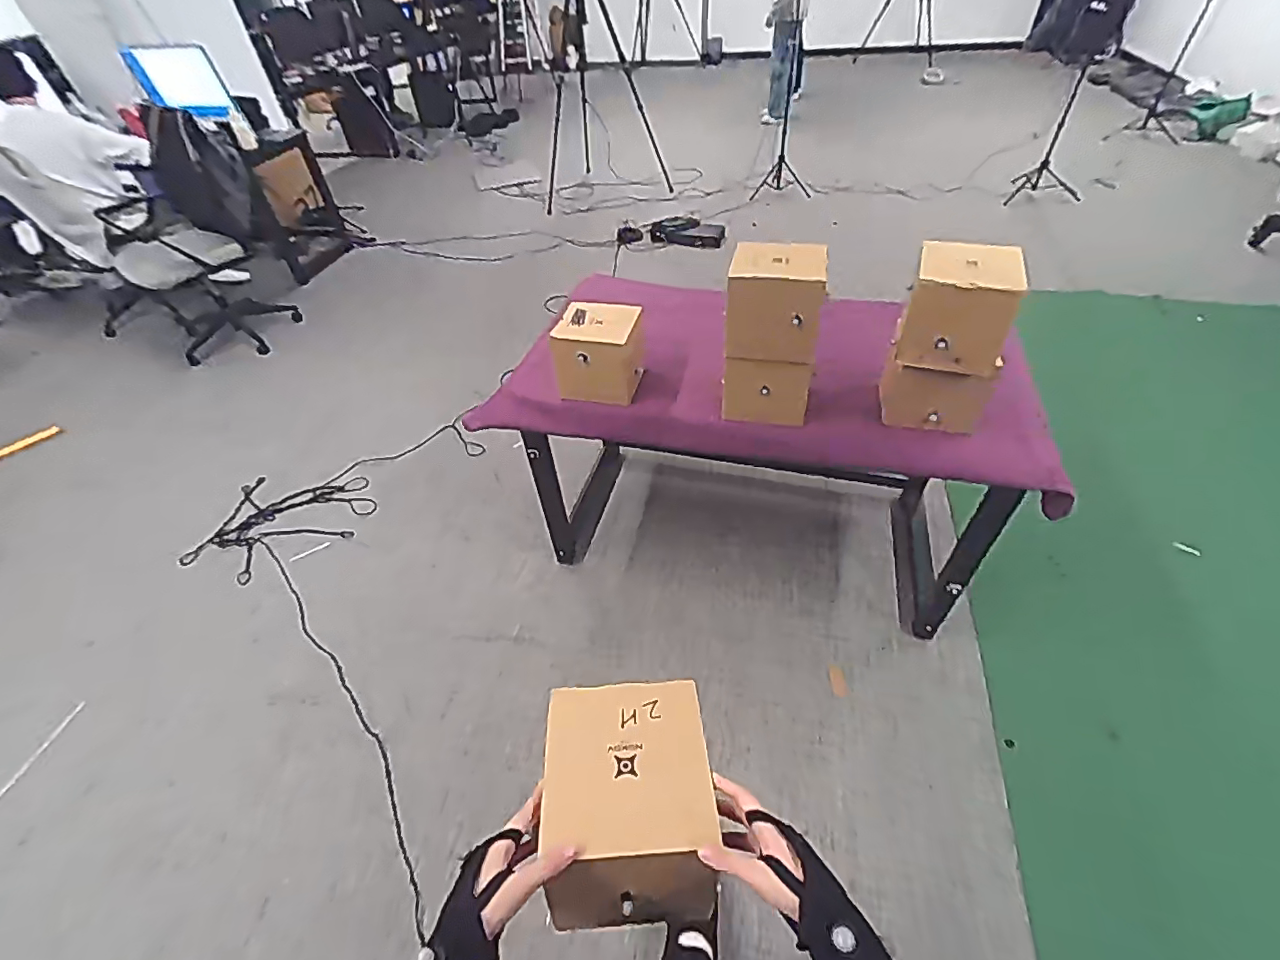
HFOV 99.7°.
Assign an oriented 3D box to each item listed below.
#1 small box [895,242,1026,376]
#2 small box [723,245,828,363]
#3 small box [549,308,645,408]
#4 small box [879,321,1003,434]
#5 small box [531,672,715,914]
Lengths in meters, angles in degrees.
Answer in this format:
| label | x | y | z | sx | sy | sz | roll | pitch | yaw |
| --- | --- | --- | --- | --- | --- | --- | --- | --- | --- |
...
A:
| label | x | y | z | sx | sy | sz | roll | pitch | yaw |
| --- | --- | --- | --- | --- | --- | --- | --- | --- | --- |
| small box | 0.585 | -0.319 | 1.005 | 0.168 | 0.176 | 0.179 | 13 | 48 | 19 |
| small box | 0.263 | -0.345 | 1.063 | 0.179 | 0.176 | 0.168 | 7 | 44 | 14 |
| small box | -0.092 | -0.286 | 1.272 | 0.179 | 0.176 | 0.168 | 8 | 45 | 12 |
| small box | 0.616 | -0.214 | 1.128 | 0.179 | 0.176 | 0.168 | 7 | 45 | 13 |
| small box | -0.016 | 0.335 | 0.582 | 0.168 | 0.176 | 0.179 | -2 | 32 | -3 |
